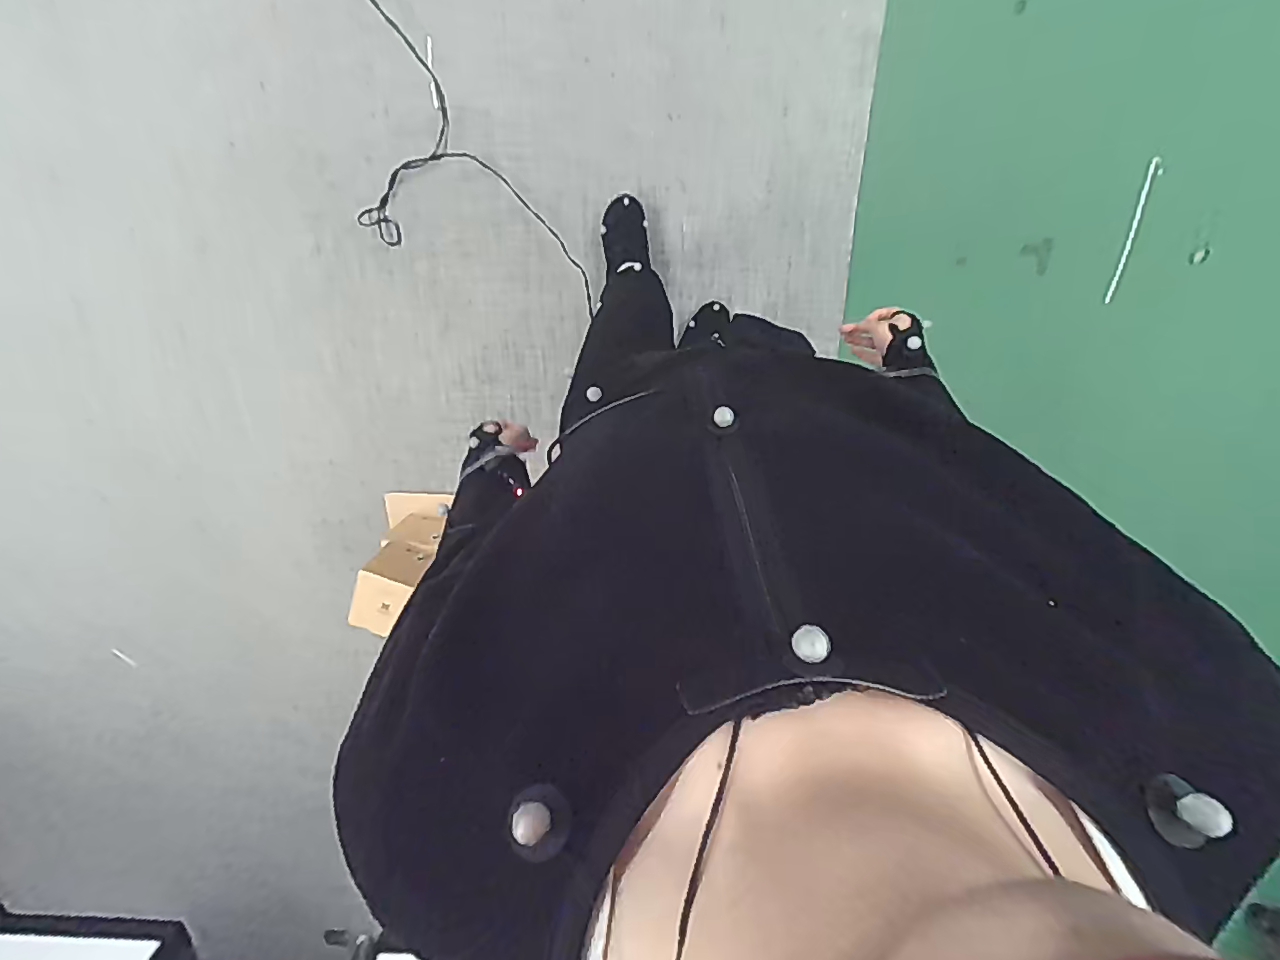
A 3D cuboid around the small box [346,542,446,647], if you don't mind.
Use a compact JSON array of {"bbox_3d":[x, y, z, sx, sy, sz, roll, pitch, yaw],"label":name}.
[{"bbox_3d":[-0.630,0.293,1.411,0.168,0.176,0.179,21,111,-5],"label":"small box"}]
